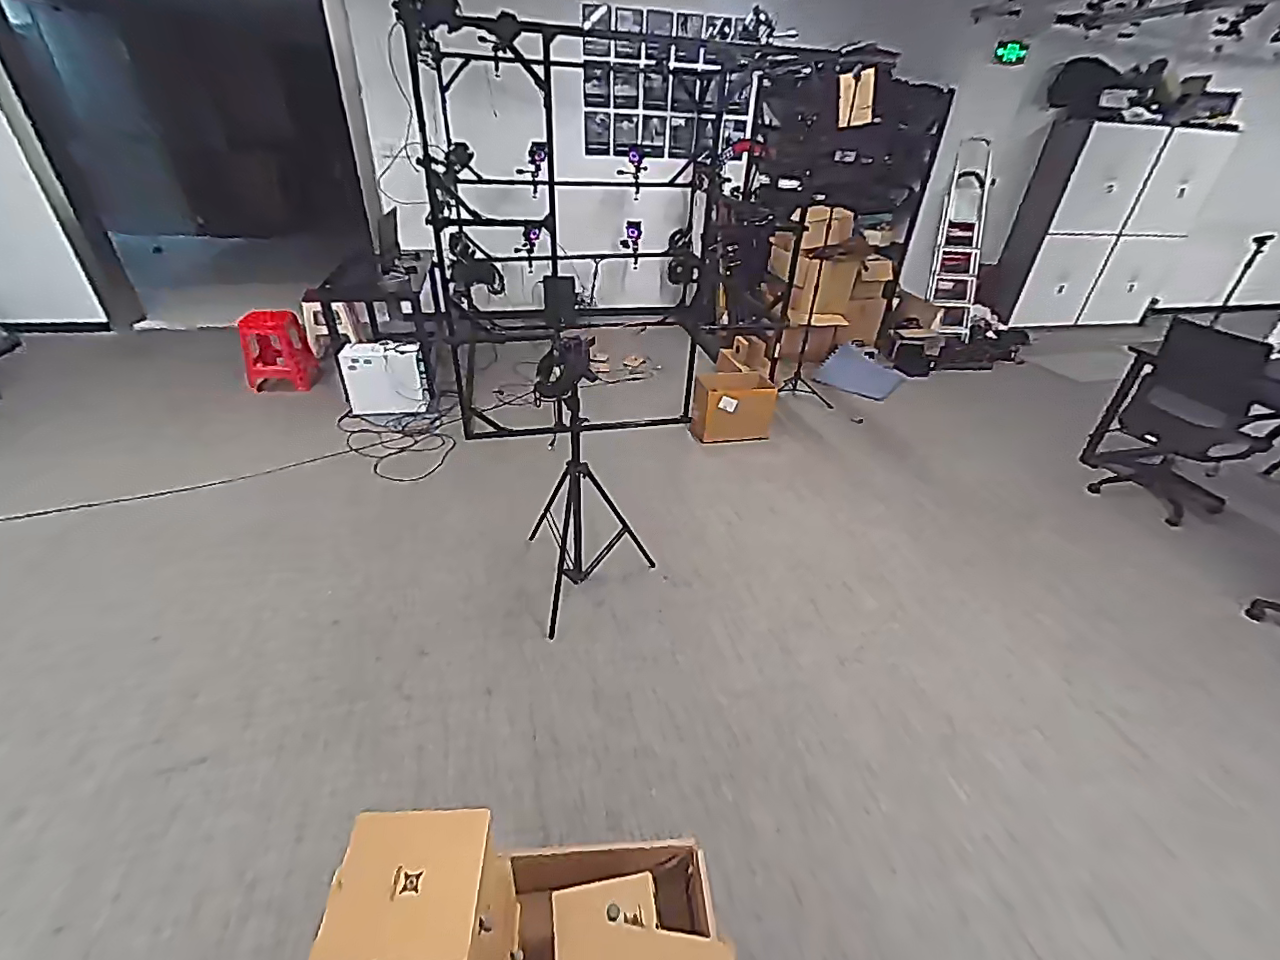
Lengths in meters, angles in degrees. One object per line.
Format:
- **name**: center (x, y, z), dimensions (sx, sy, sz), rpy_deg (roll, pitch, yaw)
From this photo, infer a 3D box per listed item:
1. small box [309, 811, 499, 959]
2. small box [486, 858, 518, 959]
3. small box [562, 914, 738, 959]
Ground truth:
- **small box**: center (-0.283, 0.553, 0.692), dimensions (0.179, 0.176, 0.168), rpy_deg (1, 32, -5)
- **small box**: center (-0.269, 0.690, 0.783), dimensions (0.168, 0.176, 0.179), rpy_deg (-1, 32, -8)
- **small box**: center (0.000, 0.574, 0.558), dimensions (0.179, 0.176, 0.168), rpy_deg (7, 48, 4)
